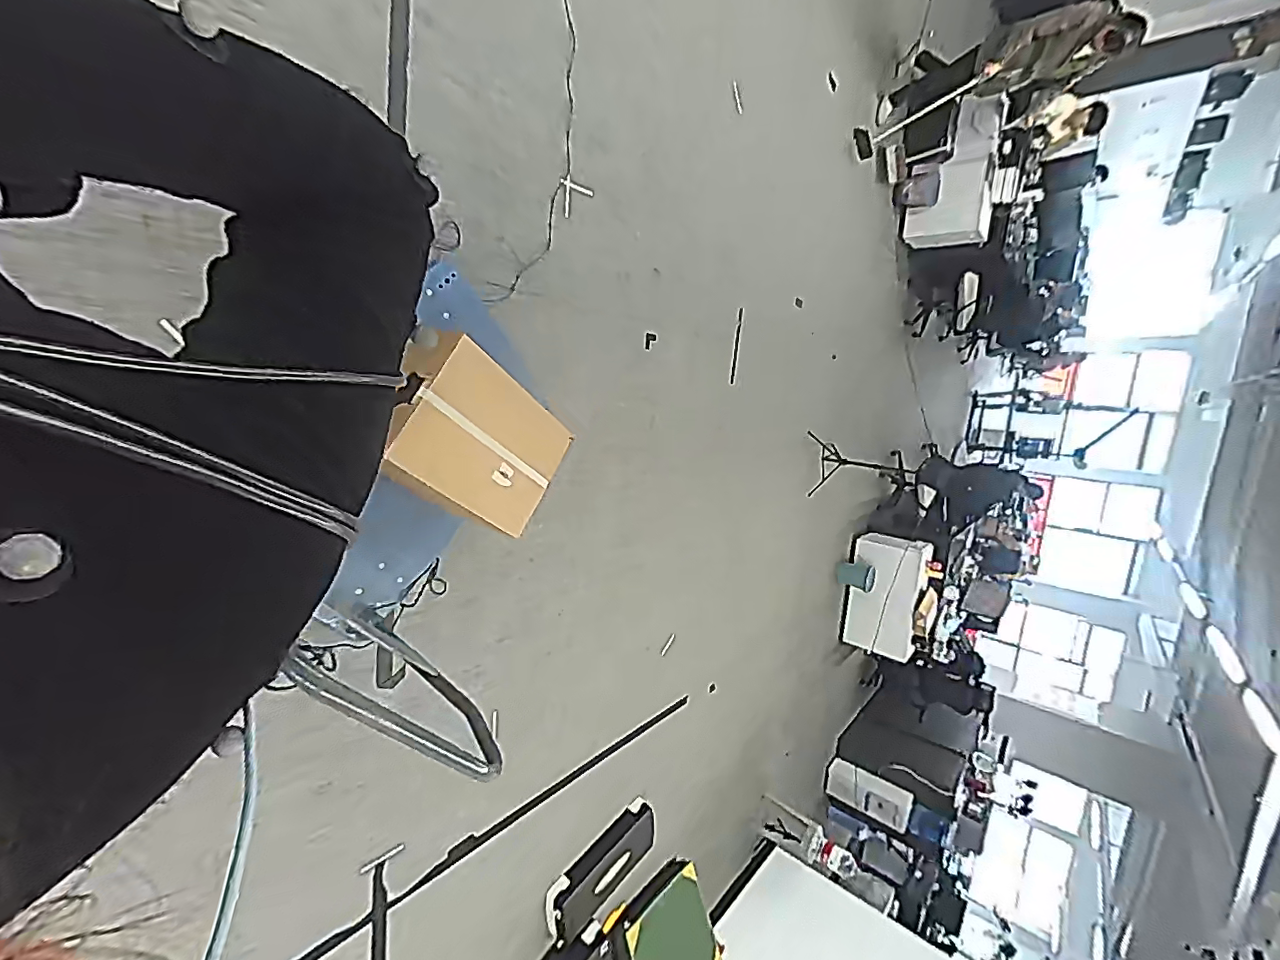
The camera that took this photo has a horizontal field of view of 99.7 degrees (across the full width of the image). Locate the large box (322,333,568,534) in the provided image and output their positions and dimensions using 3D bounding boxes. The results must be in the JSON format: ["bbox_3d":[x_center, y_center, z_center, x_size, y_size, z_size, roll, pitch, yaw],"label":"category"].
[{"bbox_3d":[-0.461,-0.112,1.325,0.408,0.320,0.320,45,66,-47],"label":"large box"}]
